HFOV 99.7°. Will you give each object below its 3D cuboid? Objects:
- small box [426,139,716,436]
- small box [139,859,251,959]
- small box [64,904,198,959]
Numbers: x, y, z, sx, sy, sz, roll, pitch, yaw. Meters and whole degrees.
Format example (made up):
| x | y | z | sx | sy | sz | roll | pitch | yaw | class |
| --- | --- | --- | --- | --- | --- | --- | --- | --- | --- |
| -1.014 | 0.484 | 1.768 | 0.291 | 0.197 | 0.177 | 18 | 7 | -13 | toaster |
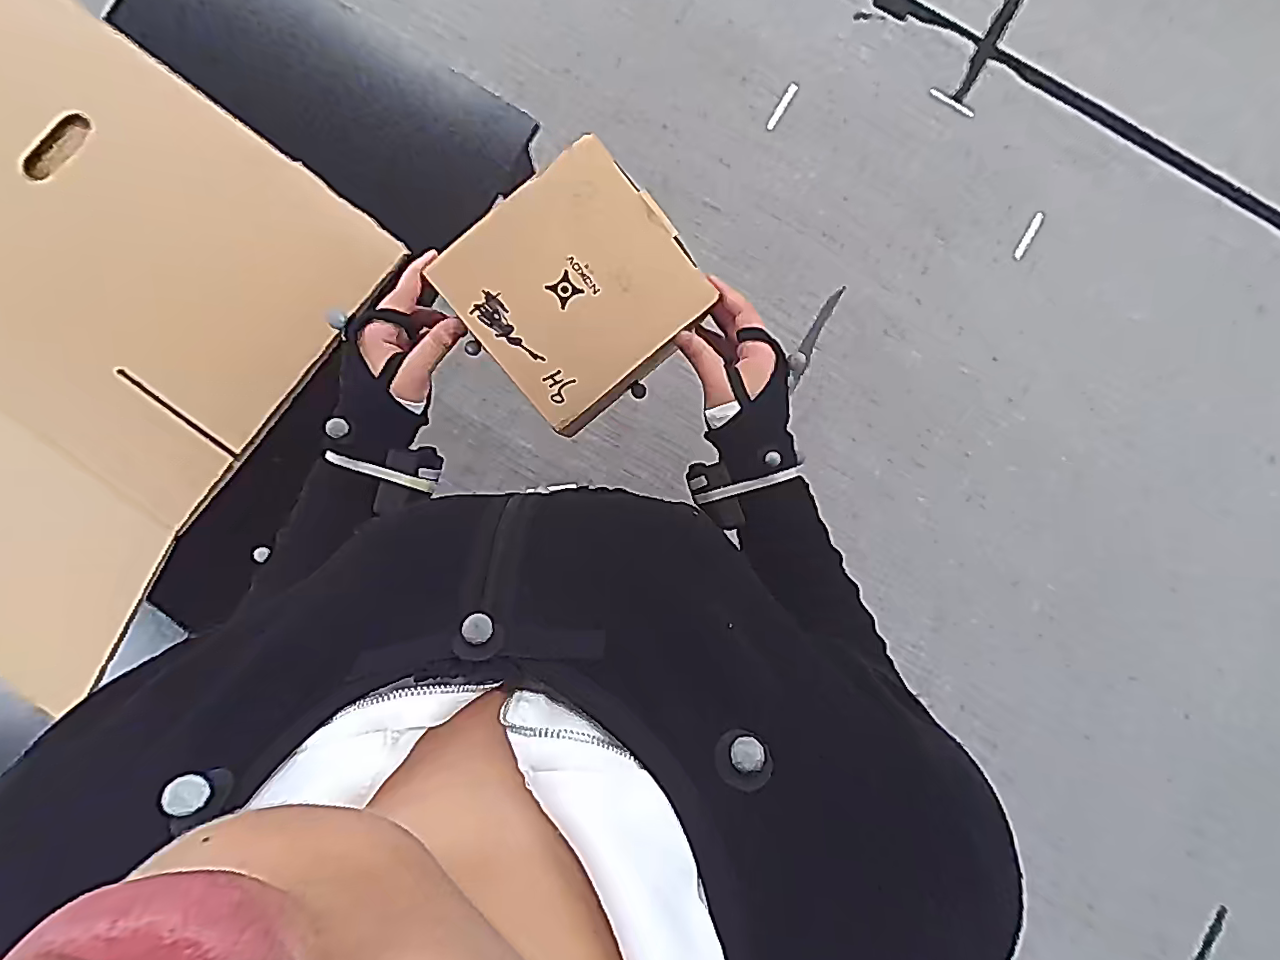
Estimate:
| x | y | z | sx | sy | sz | roll | pitch | yaw | class |
| --- | --- | --- | --- | --- | --- | --- | --- | --- | --- |
| -0.060 | -0.159 | 0.510 | 0.179 | 0.176 | 0.168 | -41 | 94 | -2 | small box |
| -1.139 | 1.100 | 1.352 | 0.179 | 0.176 | 0.168 | 27 | 88 | -1 | small box |
| -1.140 | 1.093 | 1.190 | 0.179 | 0.176 | 0.168 | 24 | 87 | 0 | small box |
